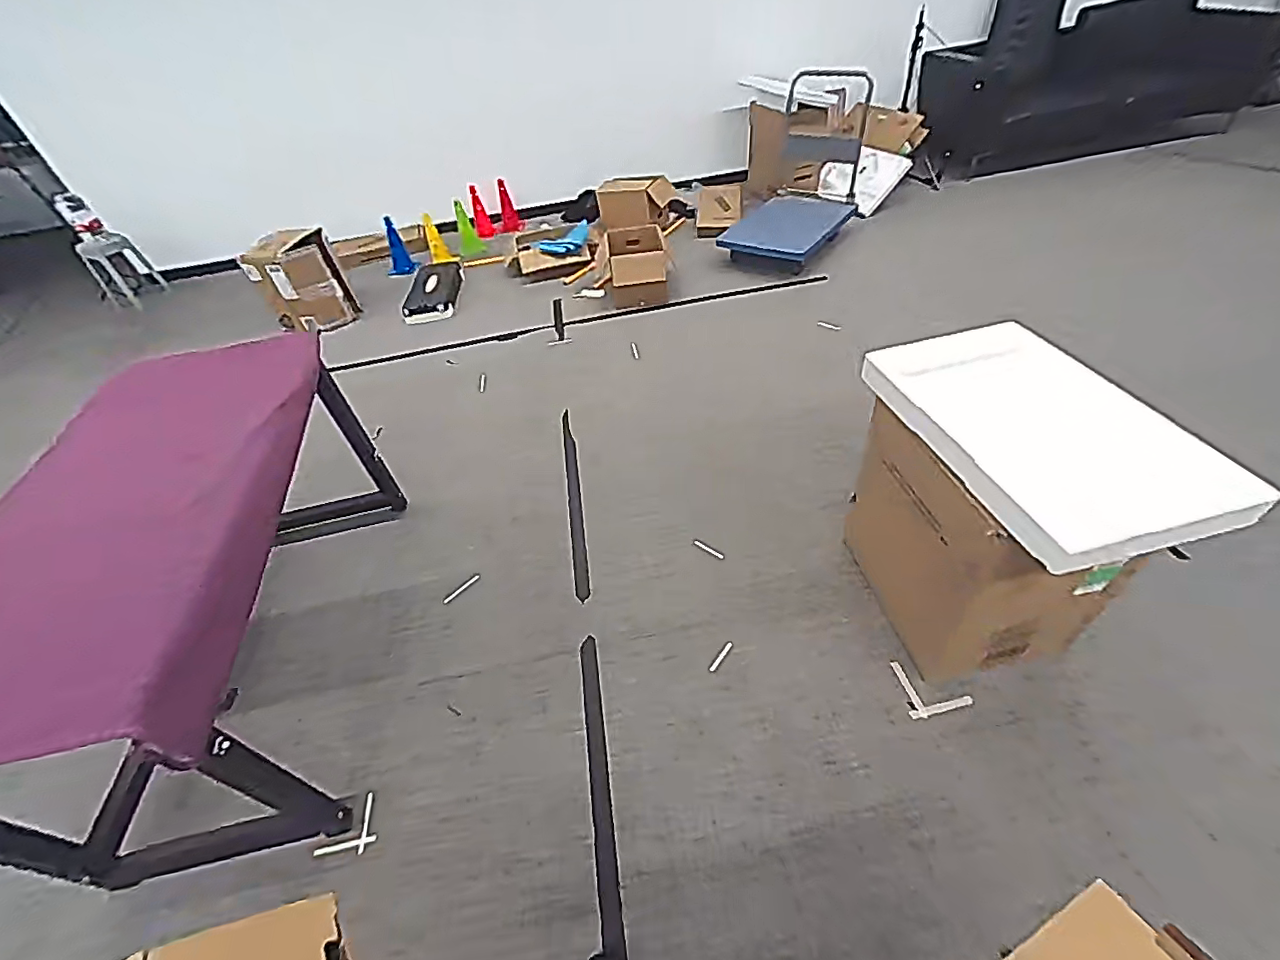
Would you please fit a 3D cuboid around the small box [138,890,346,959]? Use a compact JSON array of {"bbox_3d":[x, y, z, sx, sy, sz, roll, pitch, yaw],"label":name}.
[{"bbox_3d":[-0.417,0.586,0.552,0.179,0.176,0.168,13,10,-42],"label":"small box"}]
